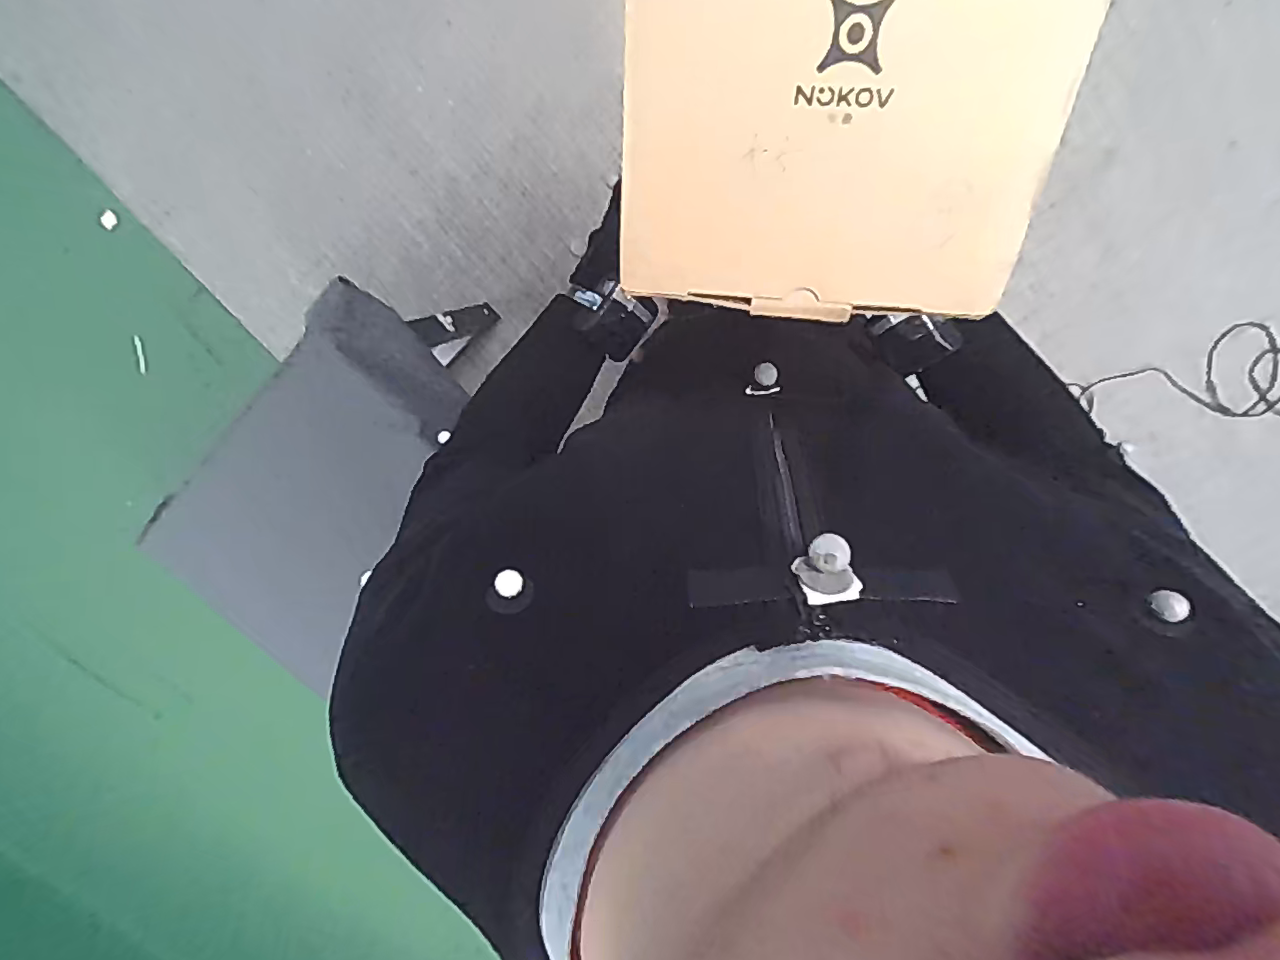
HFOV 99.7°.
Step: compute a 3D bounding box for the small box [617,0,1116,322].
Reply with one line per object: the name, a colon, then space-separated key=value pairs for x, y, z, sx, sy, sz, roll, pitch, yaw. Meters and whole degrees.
small box: x=0.084 y=-0.193 z=0.263 sx=0.168 sy=0.176 sz=0.179 roll=6 pitch=122 yaw=4
